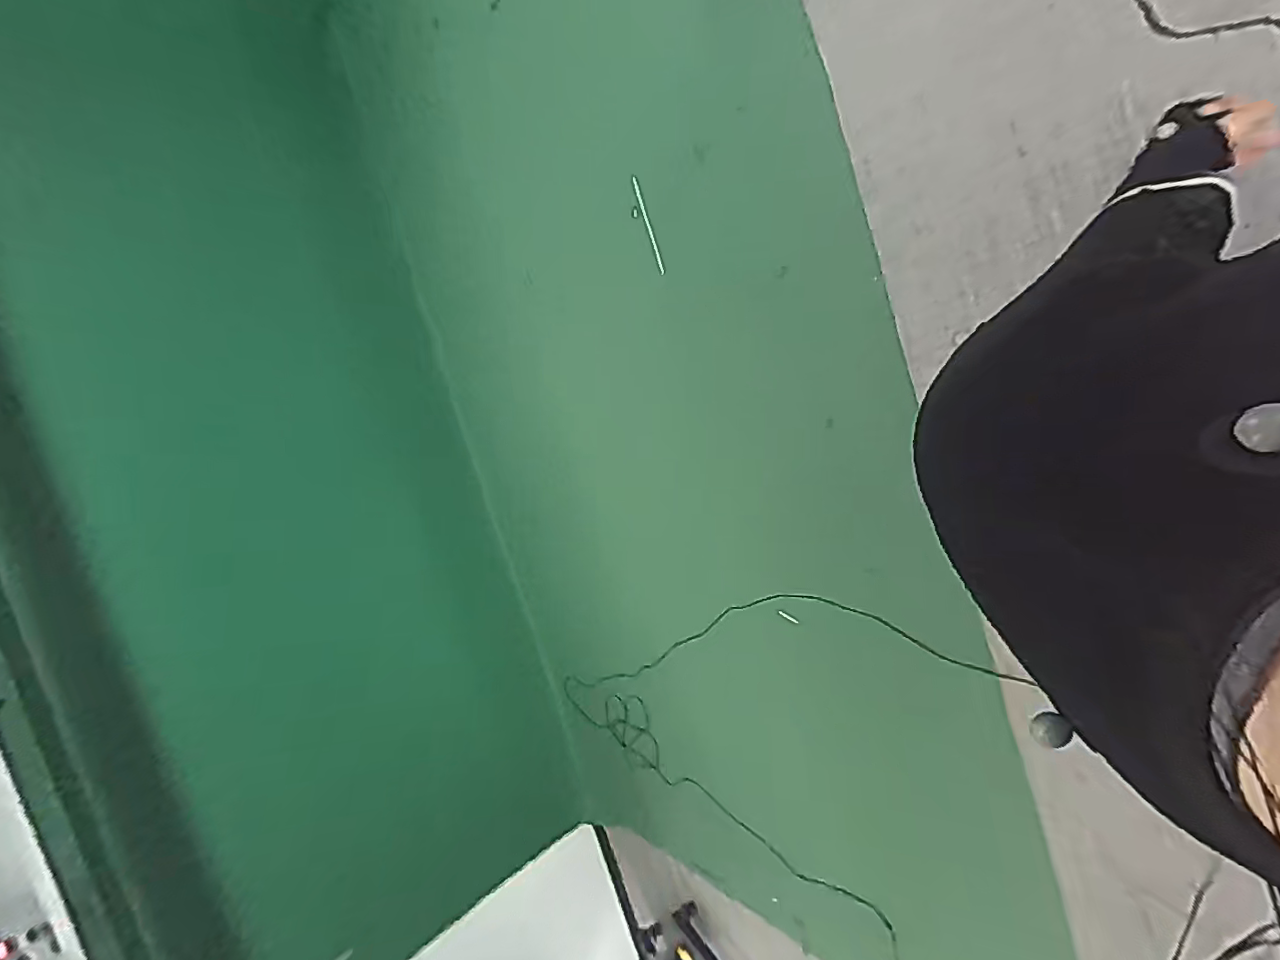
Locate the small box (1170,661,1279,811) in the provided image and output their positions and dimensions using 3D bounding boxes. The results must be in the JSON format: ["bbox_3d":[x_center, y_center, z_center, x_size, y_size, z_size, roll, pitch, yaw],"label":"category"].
[{"bbox_3d":[1.072,0.441,0.940,0.168,0.176,0.179,-19,90,53],"label":"small box"}]
